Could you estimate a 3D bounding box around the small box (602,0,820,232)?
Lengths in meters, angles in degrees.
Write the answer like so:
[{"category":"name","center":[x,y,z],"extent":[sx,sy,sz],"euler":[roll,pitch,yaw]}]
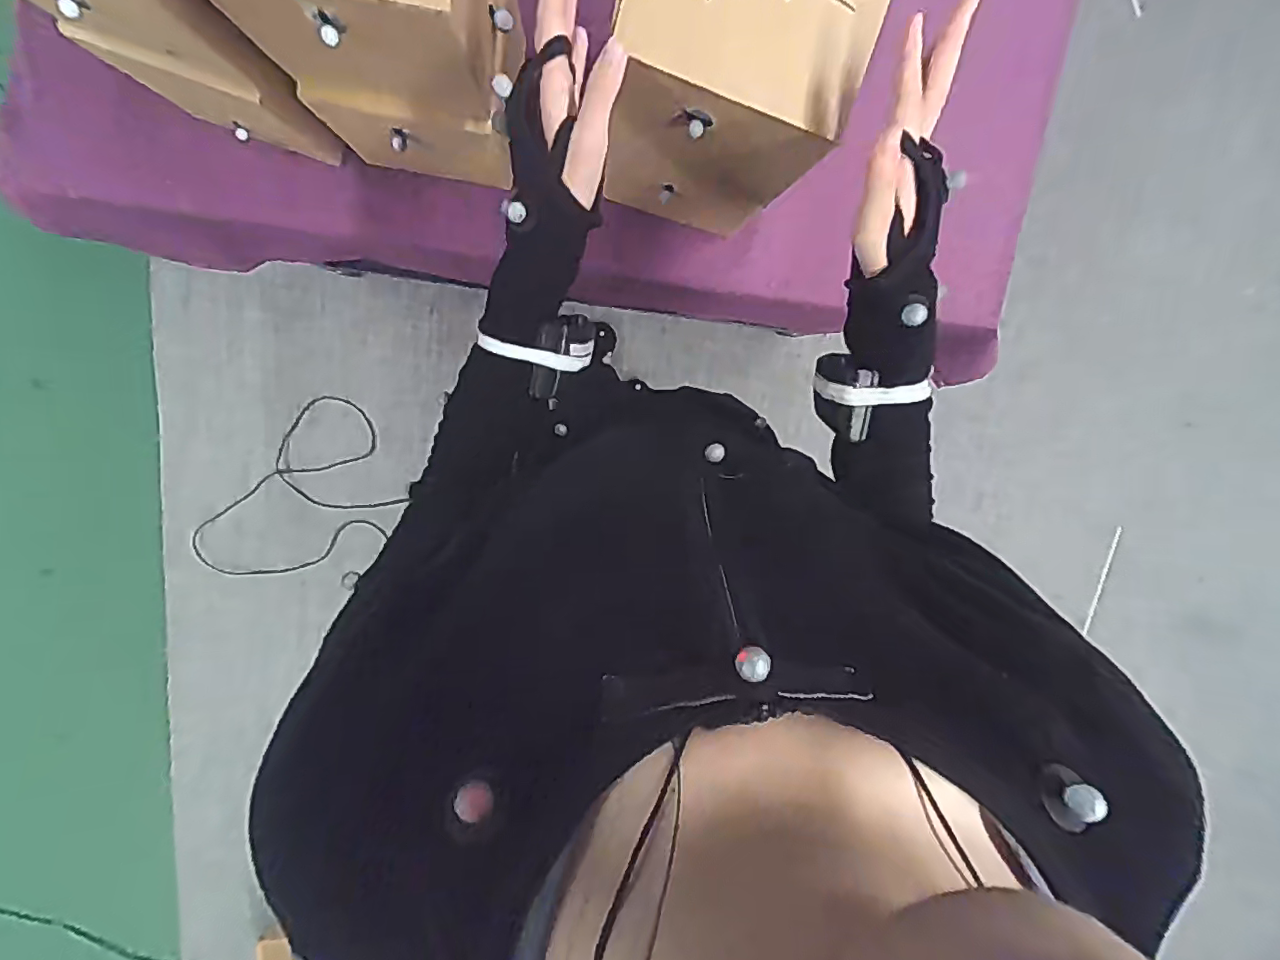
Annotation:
[{"category":"small box","center":[0.061,-0.392,0.590],"extent":[0.179,0.176,0.168],"euler":[14,101,-8]}]
